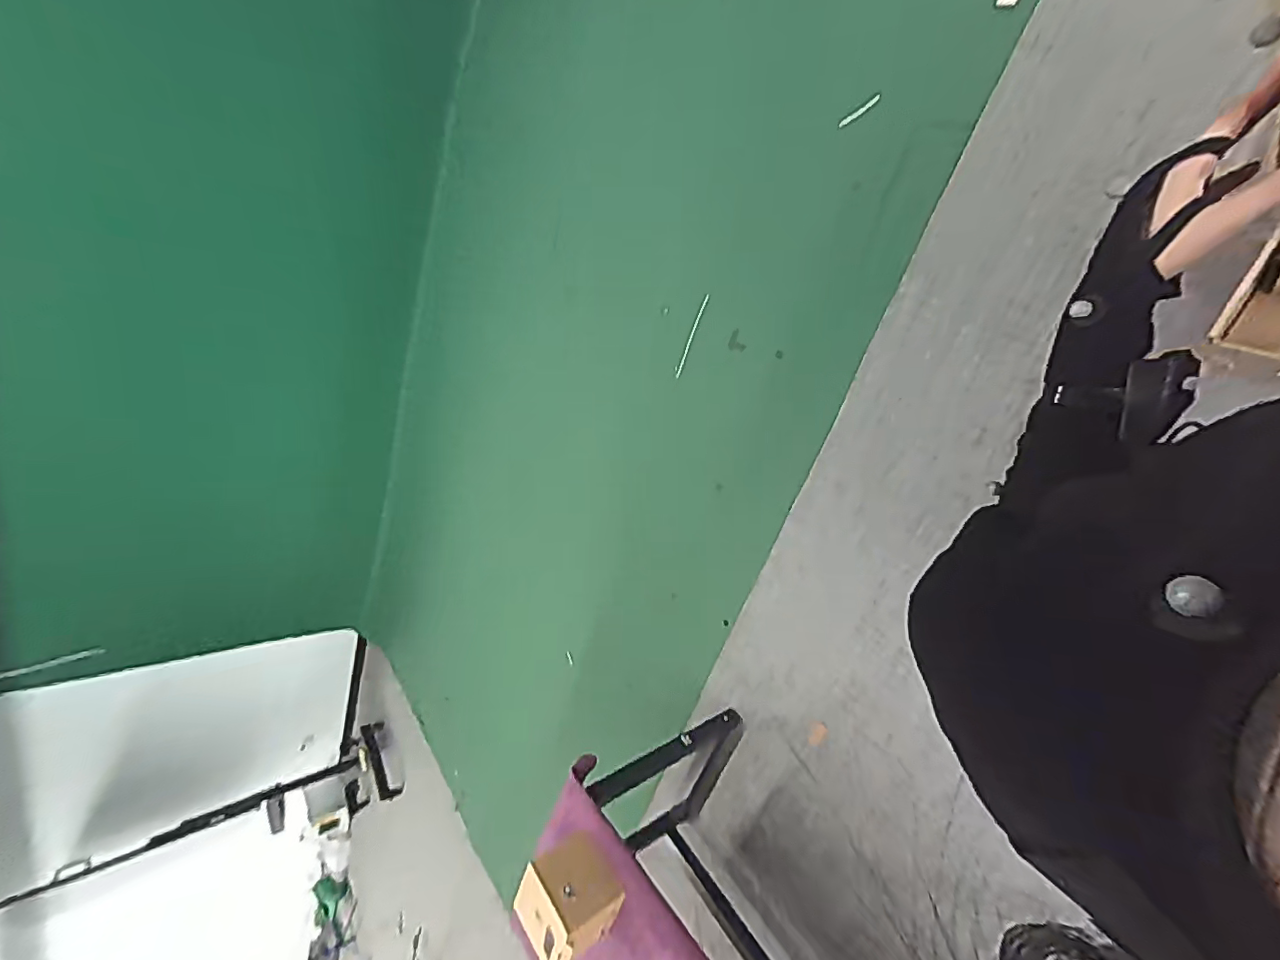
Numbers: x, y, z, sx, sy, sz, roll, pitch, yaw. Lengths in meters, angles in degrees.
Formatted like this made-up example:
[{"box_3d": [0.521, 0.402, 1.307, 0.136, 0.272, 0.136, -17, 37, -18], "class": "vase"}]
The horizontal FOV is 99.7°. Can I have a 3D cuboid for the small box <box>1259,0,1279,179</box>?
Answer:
[{"box_3d": [0.457, -0.275, 0.284, 0.168, 0.176, 0.179, -3, 108, 47], "class": "small box"}]

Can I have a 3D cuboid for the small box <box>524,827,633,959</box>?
[{"box_3d": [-0.144, 0.975, 1.278, 0.179, 0.176, 0.168, 37, 117, 39], "class": "small box"}]
